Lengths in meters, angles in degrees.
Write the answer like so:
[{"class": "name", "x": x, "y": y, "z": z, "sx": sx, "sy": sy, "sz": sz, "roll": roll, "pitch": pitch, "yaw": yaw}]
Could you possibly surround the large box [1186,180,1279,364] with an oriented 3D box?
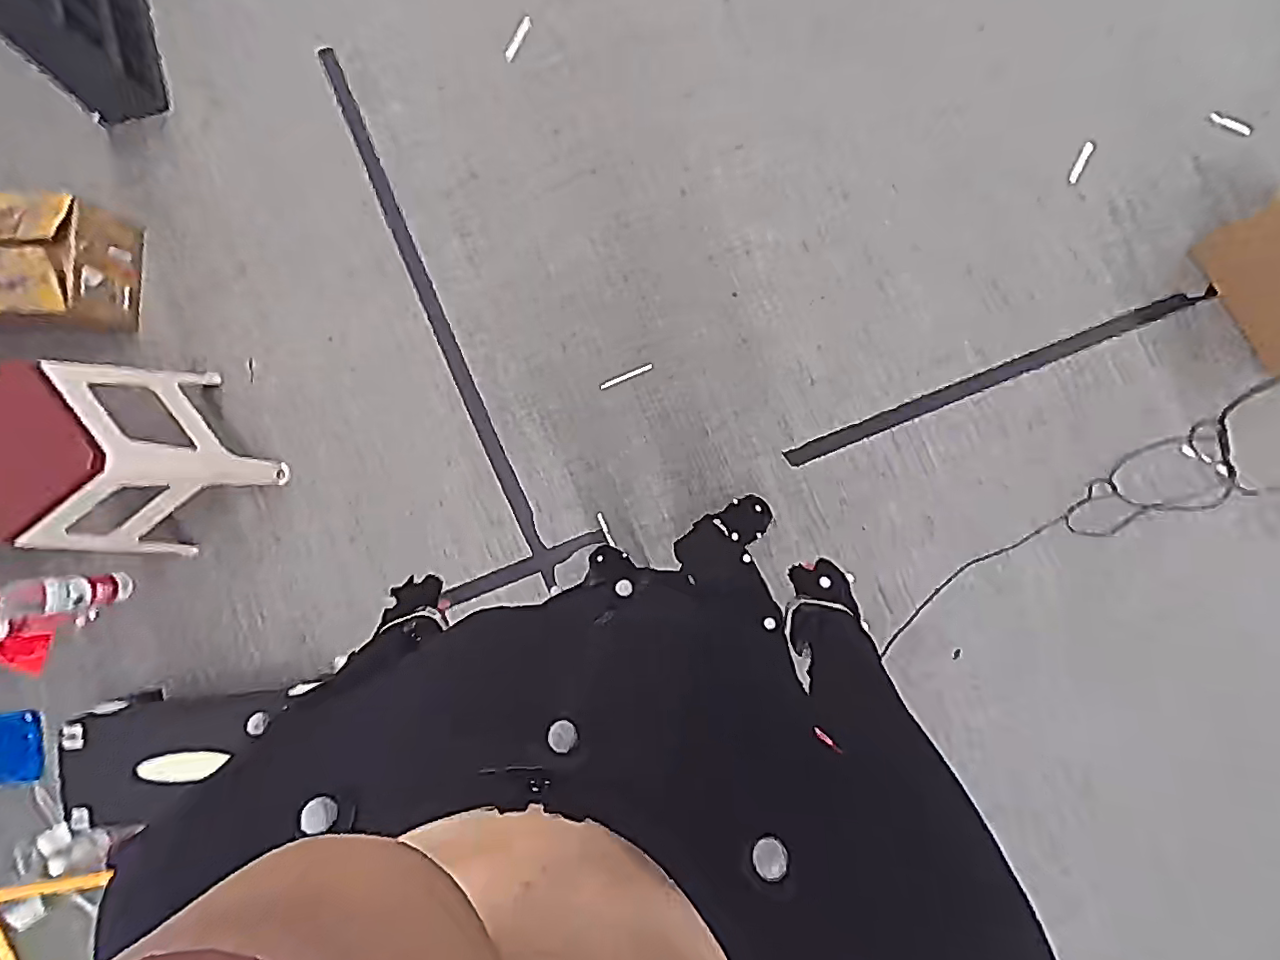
[{"class": "large box", "x": 1.677, "y": -0.553, "z": 1.287, "sx": 0.320, "sy": 0.320, "sz": 0.408, "roll": -31, "pitch": 88, "yaw": 1}]
